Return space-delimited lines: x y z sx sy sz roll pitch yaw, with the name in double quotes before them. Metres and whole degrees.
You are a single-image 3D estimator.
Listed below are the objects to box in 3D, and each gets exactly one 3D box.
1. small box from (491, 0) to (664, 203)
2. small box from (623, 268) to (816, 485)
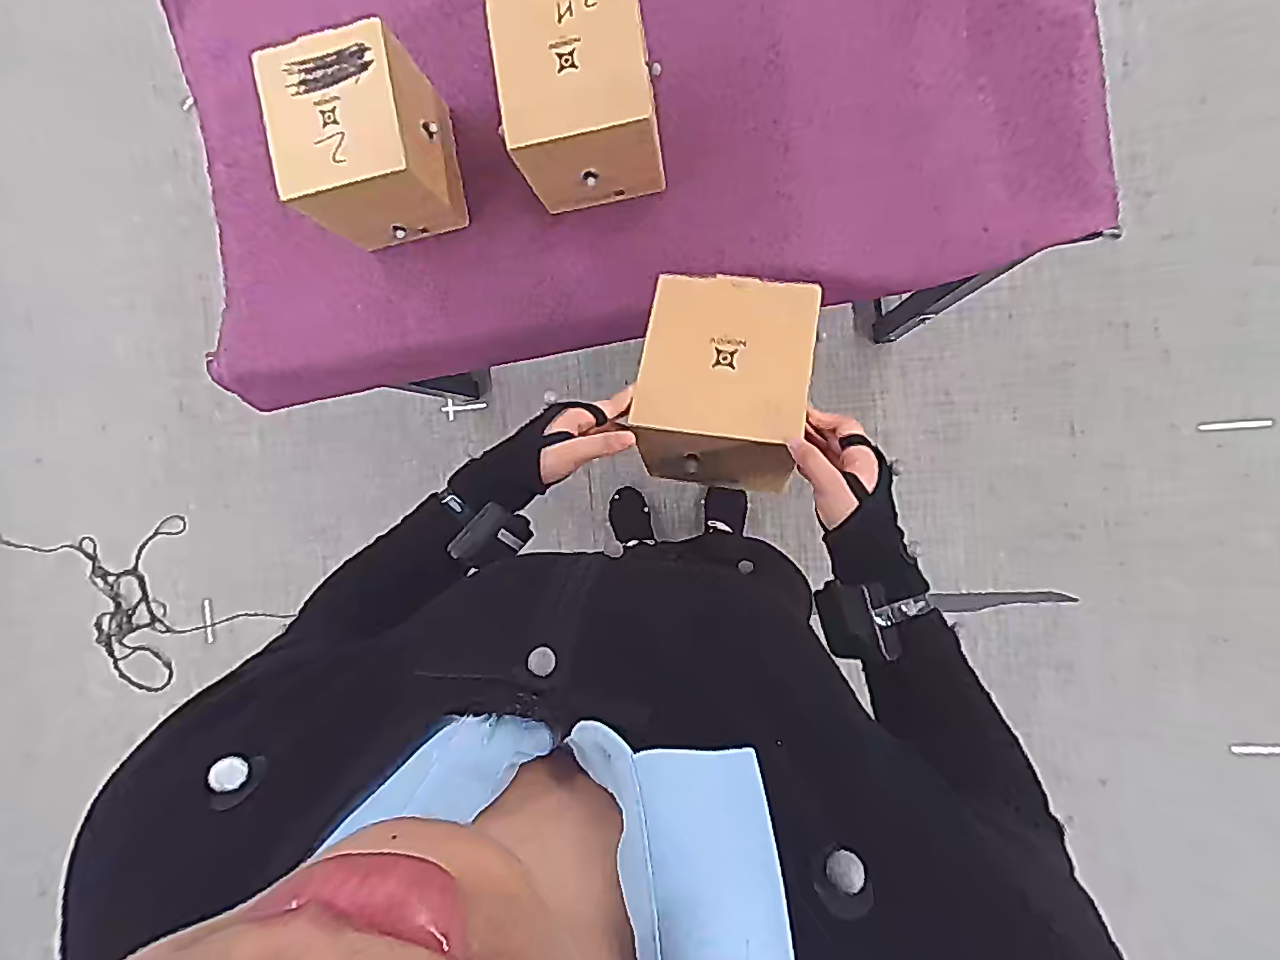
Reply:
"small box" -0.065 -0.467 0.667 0.168 0.176 0.179 -7 91 7
"small box" 0.090 -0.104 0.598 0.168 0.176 0.179 8 74 11
